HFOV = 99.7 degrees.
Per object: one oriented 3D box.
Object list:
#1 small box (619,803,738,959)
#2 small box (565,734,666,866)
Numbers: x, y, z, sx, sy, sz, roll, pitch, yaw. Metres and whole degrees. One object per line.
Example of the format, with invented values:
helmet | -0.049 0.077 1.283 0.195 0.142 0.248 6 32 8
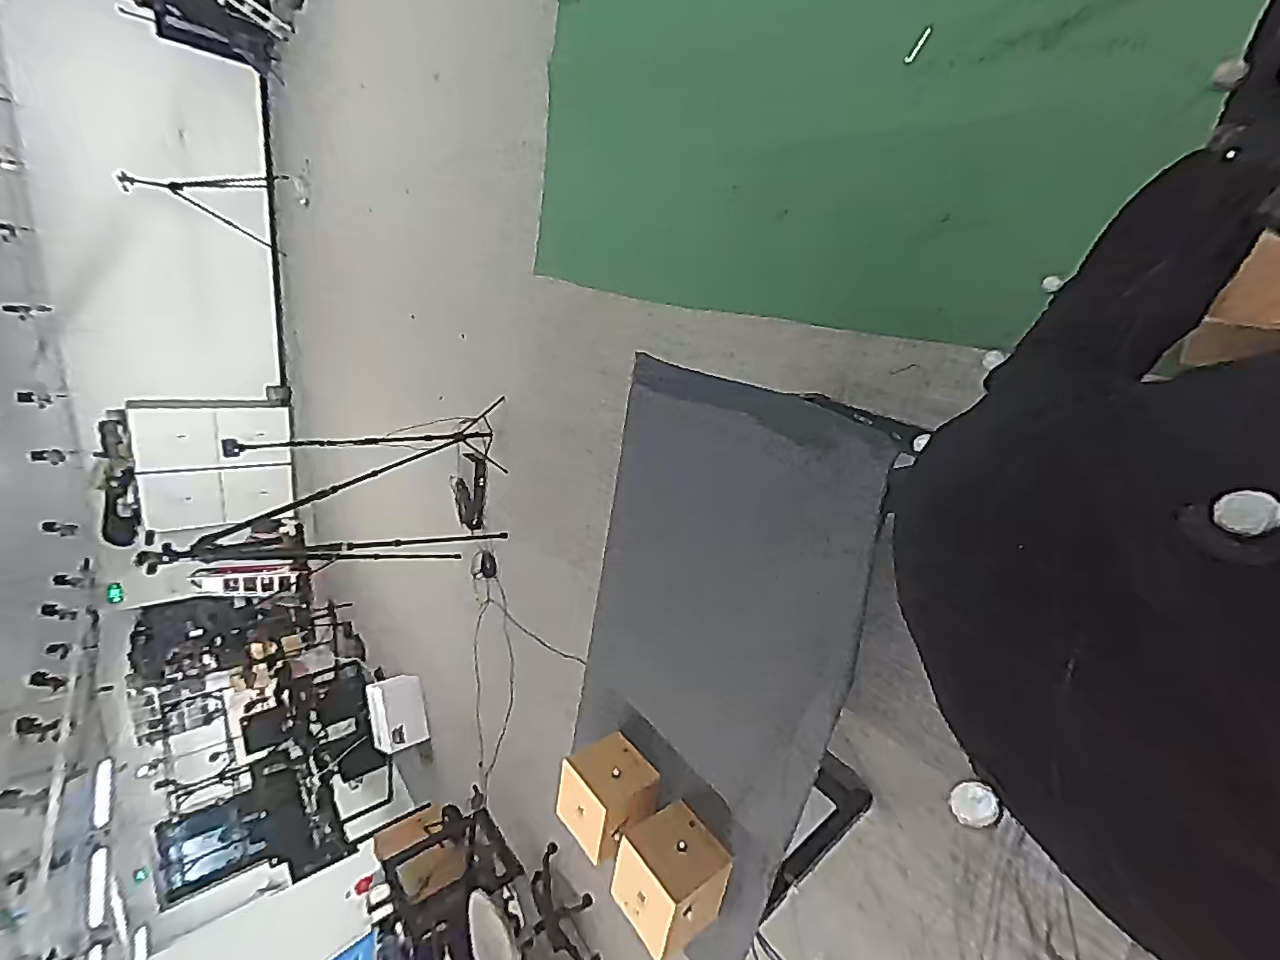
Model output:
small box | 0.081 0.824 1.124 0.168 0.176 0.179 29 116 46
small box | -0.057 0.744 1.281 0.168 0.176 0.179 26 116 44
